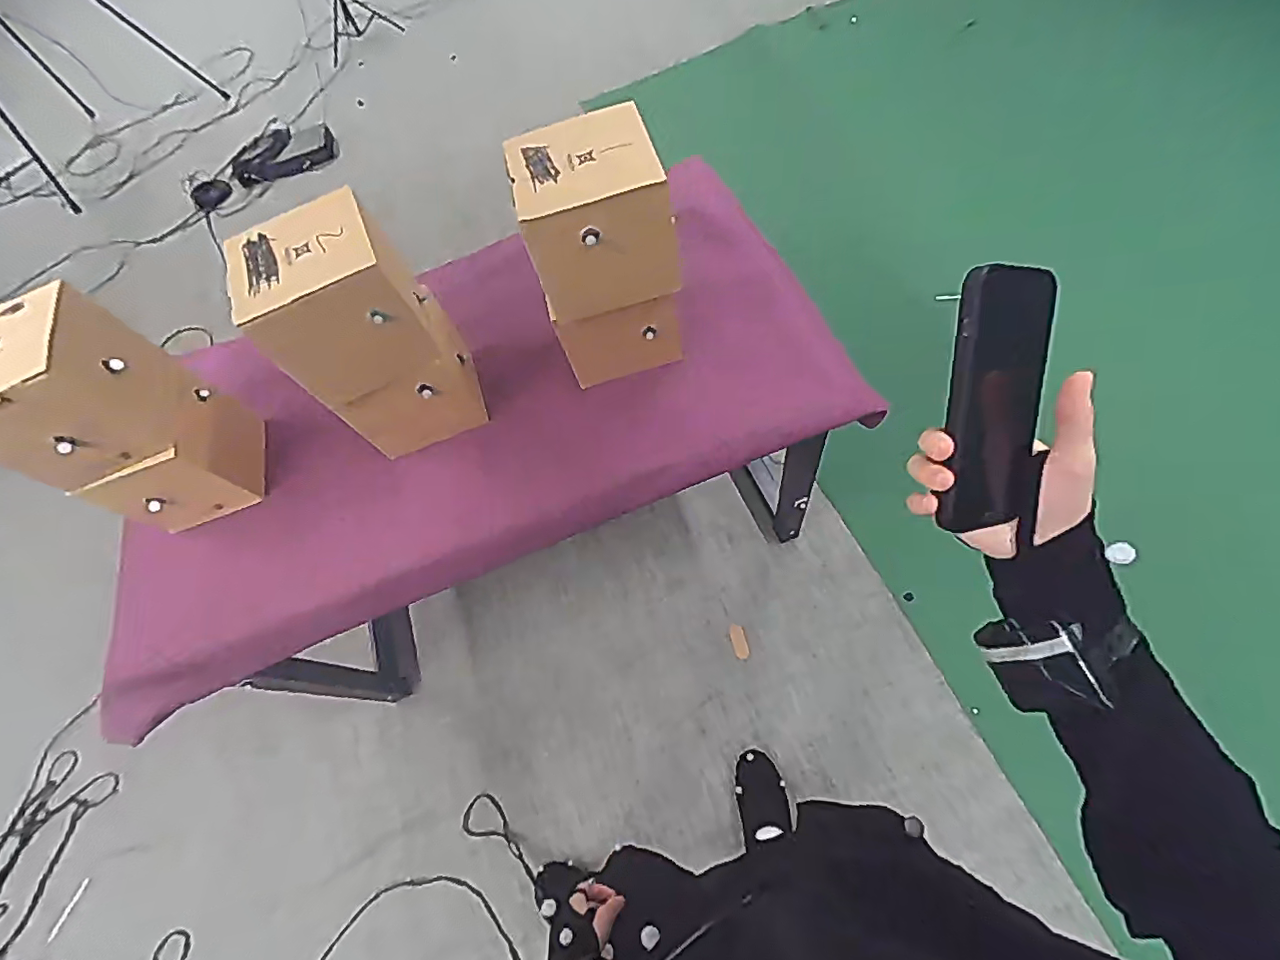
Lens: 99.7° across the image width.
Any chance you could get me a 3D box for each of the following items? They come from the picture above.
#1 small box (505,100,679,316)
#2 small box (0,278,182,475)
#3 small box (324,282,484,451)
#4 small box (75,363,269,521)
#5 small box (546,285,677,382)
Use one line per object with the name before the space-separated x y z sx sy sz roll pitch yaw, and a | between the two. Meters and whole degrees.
small box | -0.057 -0.344 0.707 0.179 0.176 0.168 -16 63 2
small box | -0.766 -0.127 0.730 0.168 0.176 0.179 -25 64 -3
small box | -0.366 -0.173 0.863 0.179 0.176 0.168 -21 63 0
small box | -0.737 -0.050 0.873 0.168 0.176 0.179 -21 63 0
small box | -0.043 -0.284 0.859 0.179 0.176 0.168 -16 63 3
